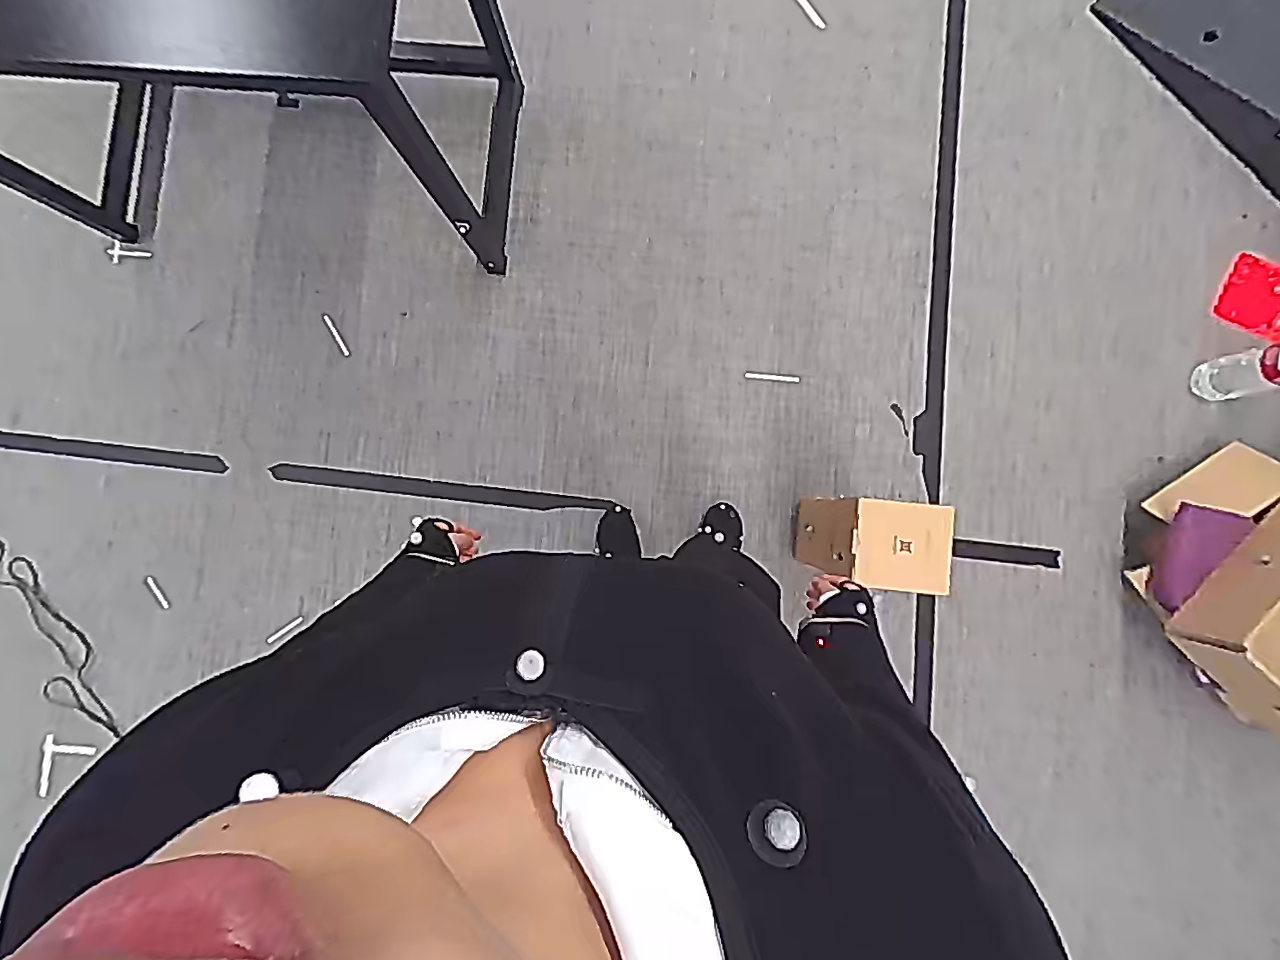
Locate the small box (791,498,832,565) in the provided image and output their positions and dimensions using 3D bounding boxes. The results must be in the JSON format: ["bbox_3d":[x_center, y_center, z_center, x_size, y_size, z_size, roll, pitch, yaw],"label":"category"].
[{"bbox_3d":[0.497,0.144,1.406,0.168,0.176,0.179,6,87,3],"label":"small box"}]

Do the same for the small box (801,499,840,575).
[{"bbox_3d":[0.484,0.135,1.242,0.179,0.176,0.168,6,86,4],"label":"small box"}]

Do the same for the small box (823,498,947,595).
[{"bbox_3d":[0.478,0.128,1.080,0.179,0.176,0.168,5,88,2],"label":"small box"}]
